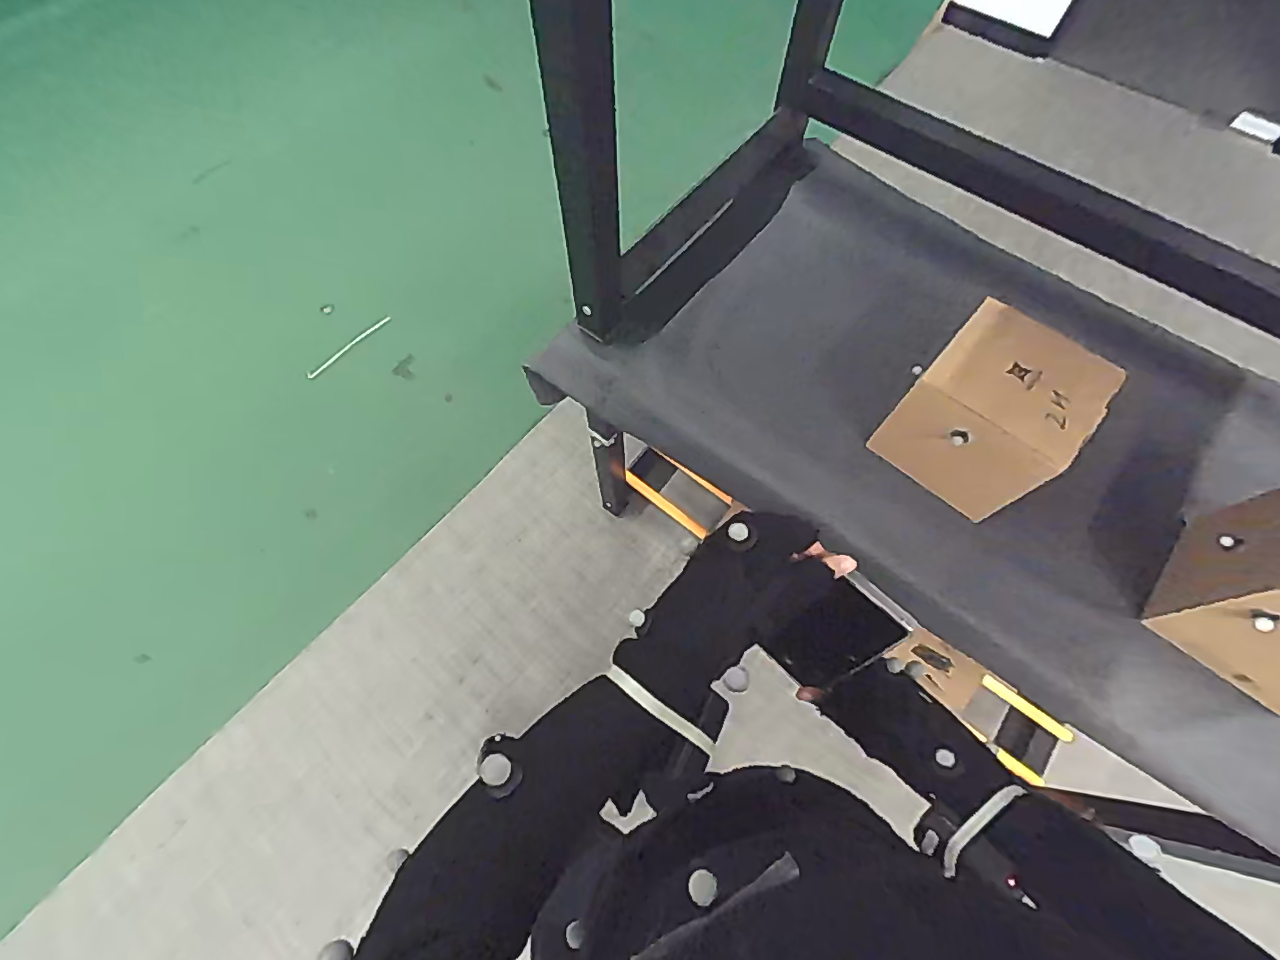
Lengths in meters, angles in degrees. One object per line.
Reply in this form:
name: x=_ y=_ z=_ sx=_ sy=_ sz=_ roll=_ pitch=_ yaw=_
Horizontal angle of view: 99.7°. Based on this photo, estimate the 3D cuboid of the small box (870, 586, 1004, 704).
small box: x=0.628 y=0.363 z=1.171 sx=0.168 sy=0.176 sz=0.179 roll=40 pitch=72 yaw=15

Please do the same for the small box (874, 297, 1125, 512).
small box: x=0.437 y=-0.087 z=0.689 sx=0.179 sy=0.176 sz=0.168 roll=39 pitch=72 yaw=16
